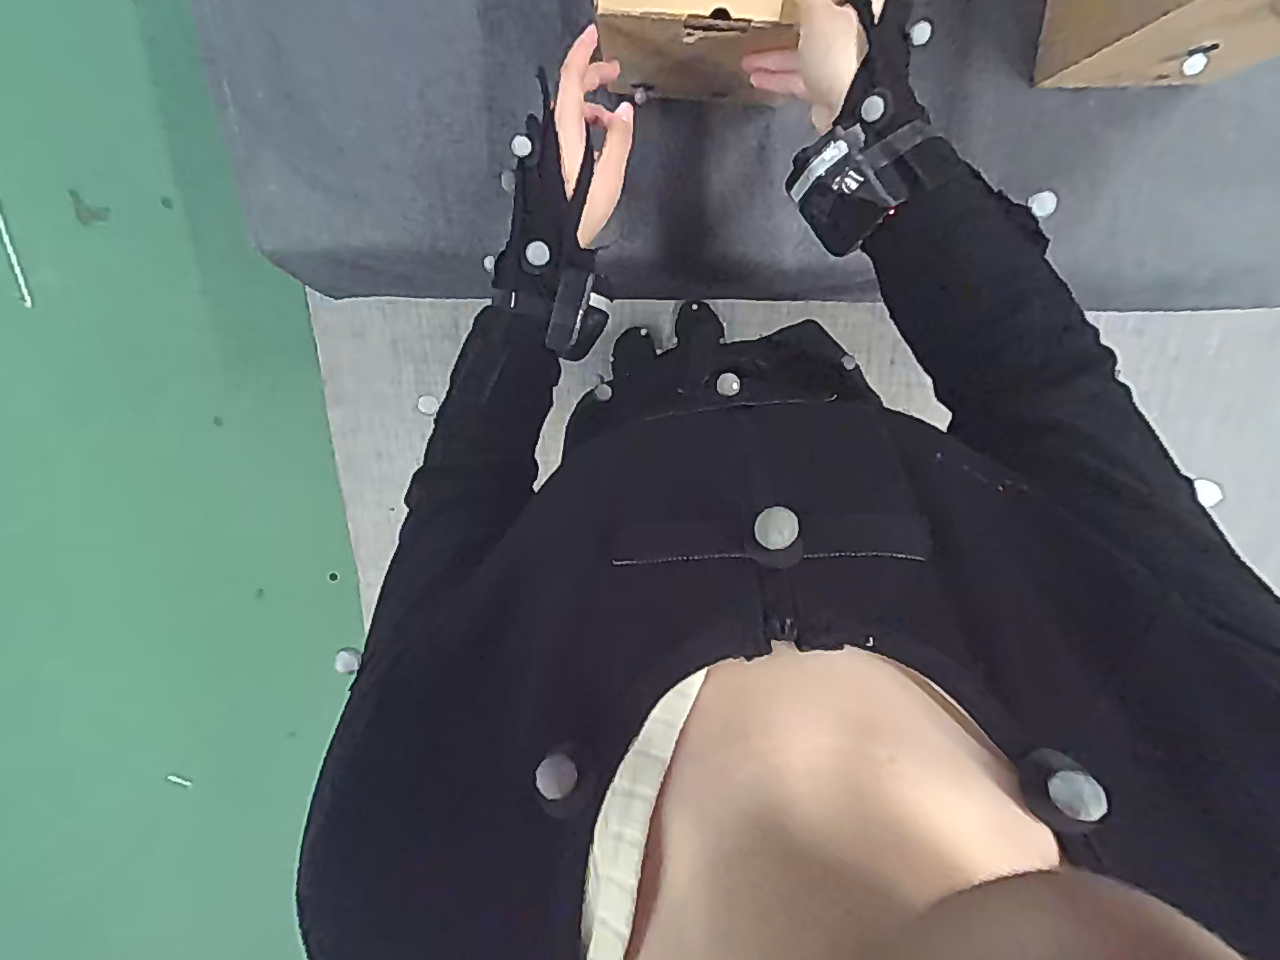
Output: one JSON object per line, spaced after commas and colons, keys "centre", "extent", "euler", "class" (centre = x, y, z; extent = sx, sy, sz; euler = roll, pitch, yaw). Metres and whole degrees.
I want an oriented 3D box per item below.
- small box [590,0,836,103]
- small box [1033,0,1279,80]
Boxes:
{"centre": [0.055, -0.413, 0.408], "extent": [0.168, 0.176, 0.179], "euler": [4, 109, -2], "class": "small box"}
{"centre": [0.440, -0.425, 0.403], "extent": [0.168, 0.176, 0.179], "euler": [-1, 109, 0], "class": "small box"}
